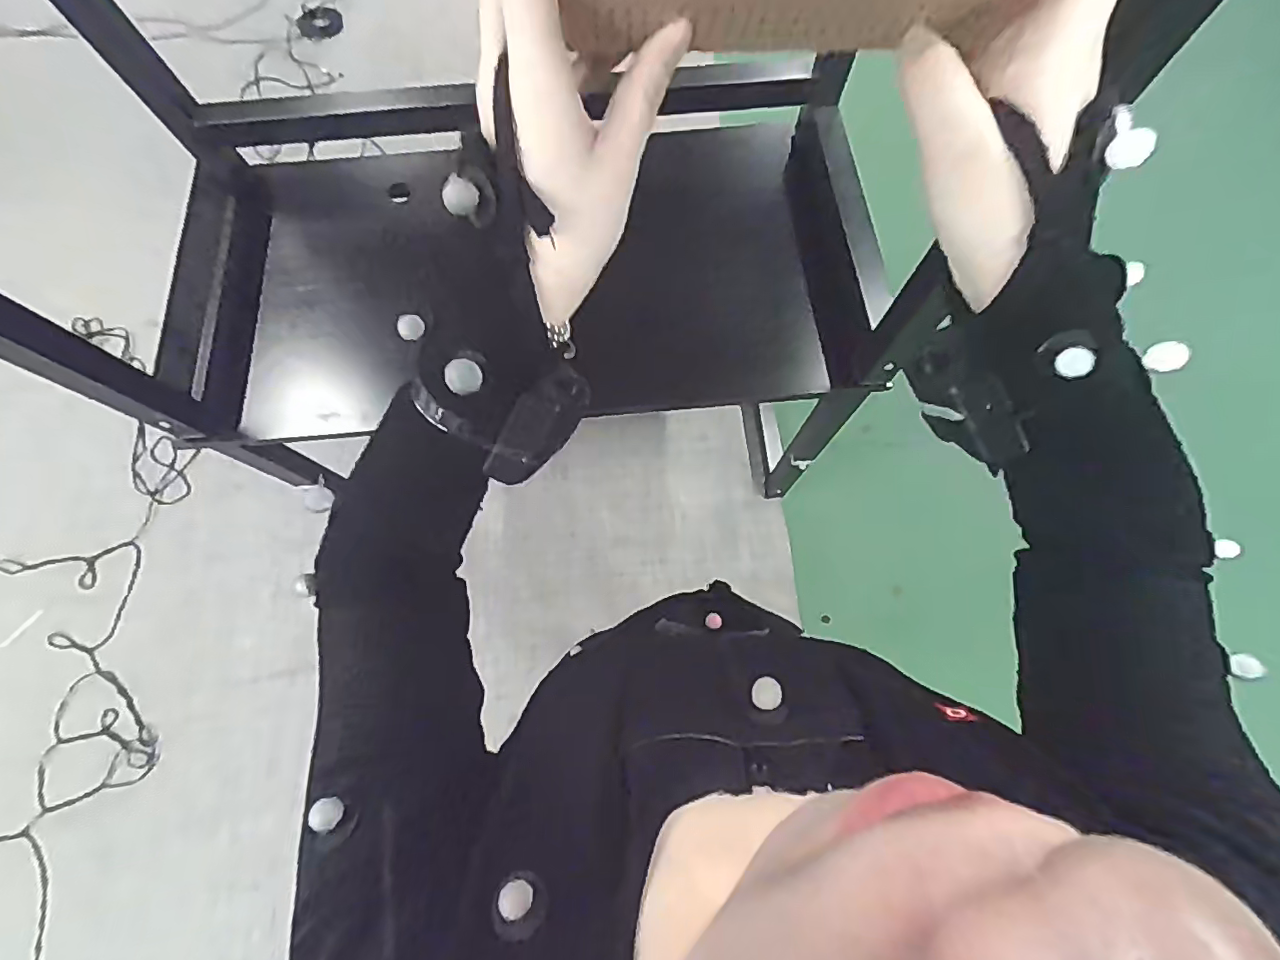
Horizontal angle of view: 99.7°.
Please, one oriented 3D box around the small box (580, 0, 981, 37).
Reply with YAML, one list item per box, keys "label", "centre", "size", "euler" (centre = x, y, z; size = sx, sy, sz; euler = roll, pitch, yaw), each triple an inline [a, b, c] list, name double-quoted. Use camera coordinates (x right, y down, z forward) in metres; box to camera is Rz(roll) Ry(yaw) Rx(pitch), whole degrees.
- label: "small box"
  centre: [0.059, -0.252, 0.136]
  size: [0.179, 0.176, 0.168]
  euler: [-1, 101, -1]
